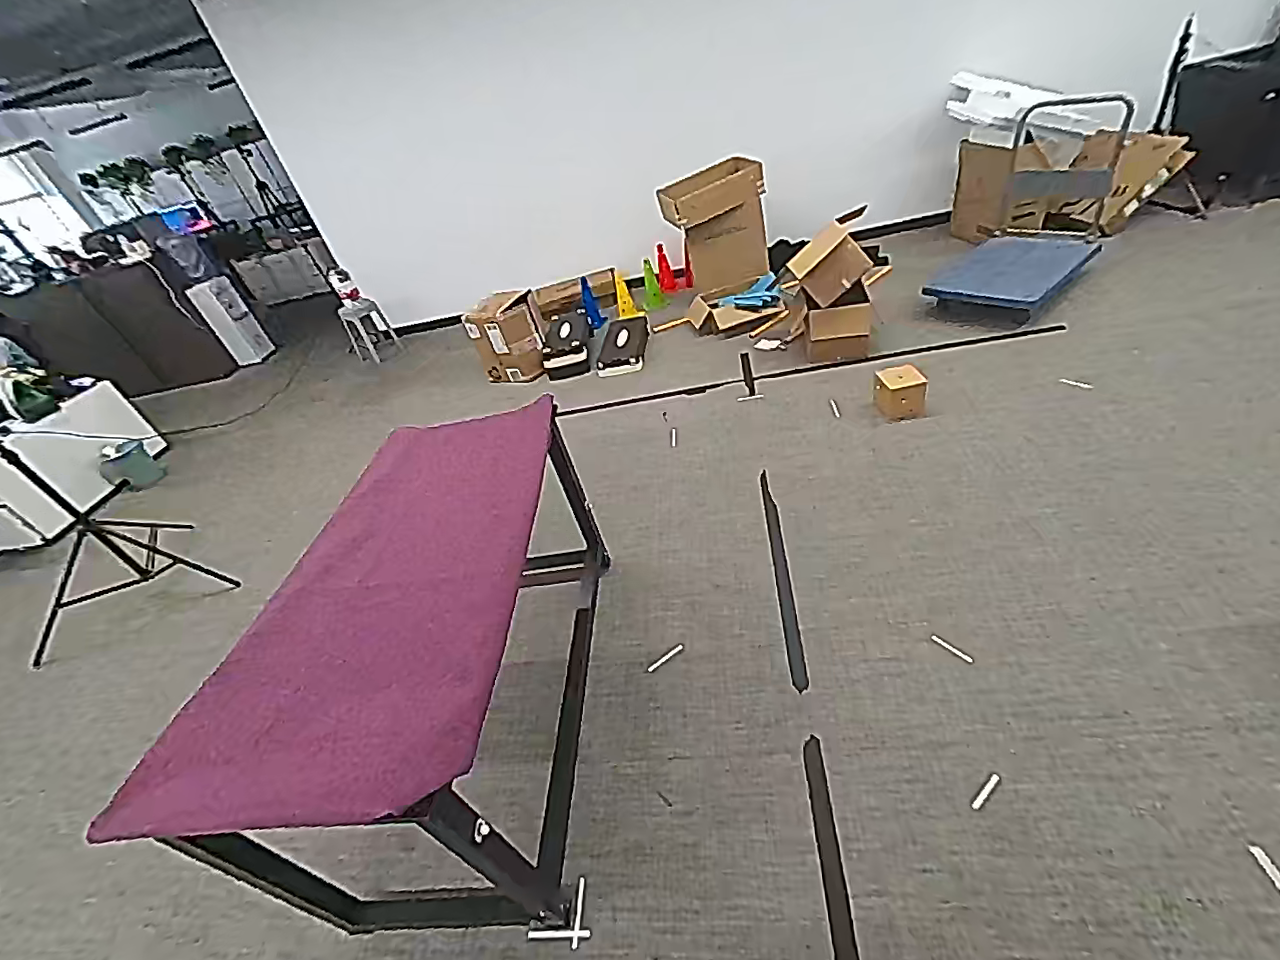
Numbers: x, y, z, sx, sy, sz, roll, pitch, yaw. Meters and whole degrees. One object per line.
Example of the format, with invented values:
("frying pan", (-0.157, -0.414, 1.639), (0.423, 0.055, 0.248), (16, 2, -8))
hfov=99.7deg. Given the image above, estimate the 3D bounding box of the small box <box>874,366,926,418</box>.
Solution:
("small box", (1.197, -0.400, 2.499), (0.168, 0.176, 0.179), (-13, 37, 5))
